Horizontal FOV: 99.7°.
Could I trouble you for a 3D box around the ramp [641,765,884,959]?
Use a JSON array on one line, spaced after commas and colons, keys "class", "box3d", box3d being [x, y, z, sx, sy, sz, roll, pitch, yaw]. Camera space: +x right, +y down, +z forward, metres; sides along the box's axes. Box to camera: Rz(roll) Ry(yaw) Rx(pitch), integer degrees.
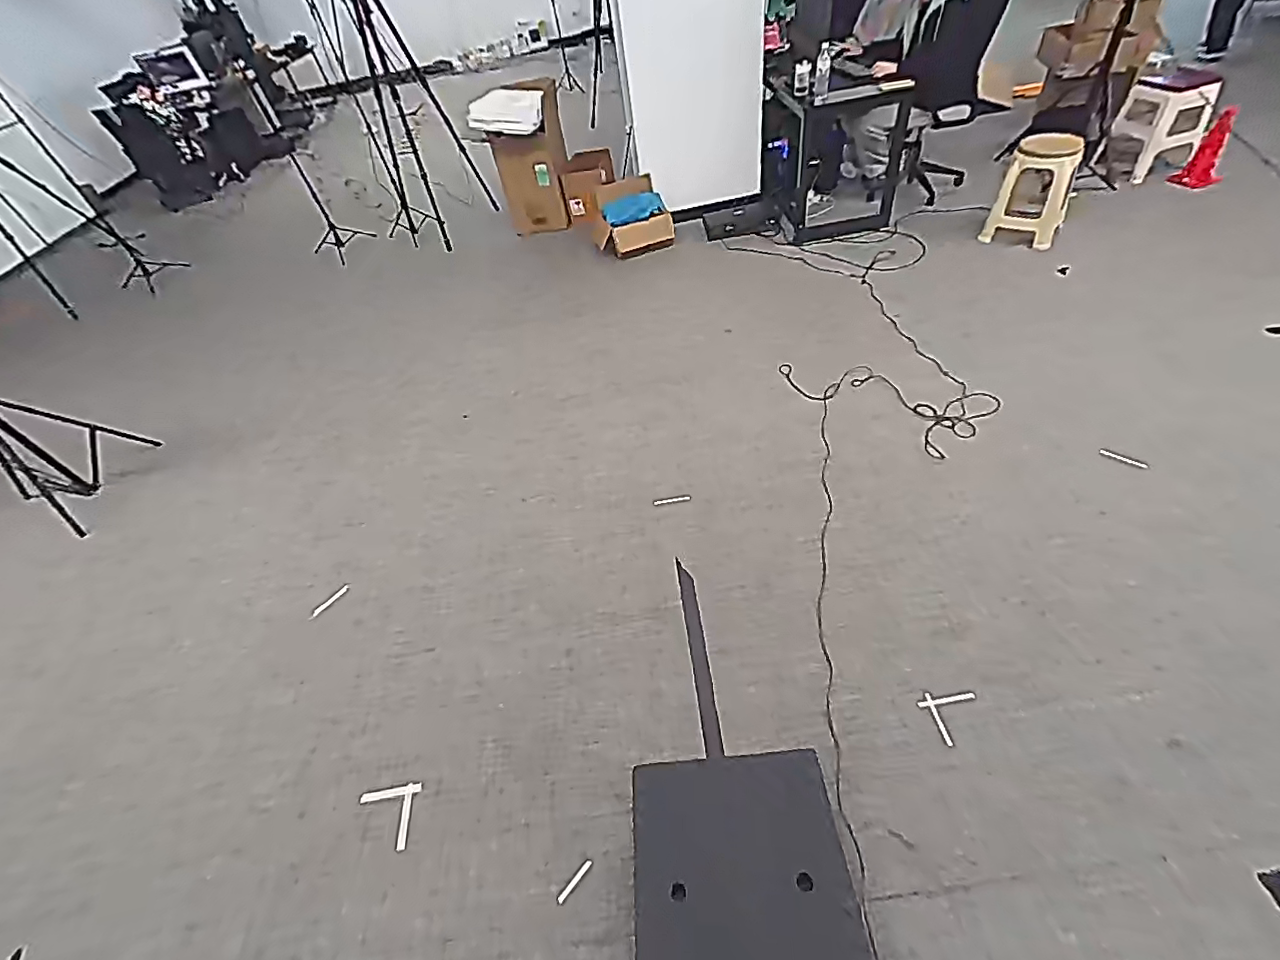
[{"class": "ramp", "box3d": [0.258, 1.073, 1.030, 0.509, 0.206, 0.991, -11, 44, 3]}]
